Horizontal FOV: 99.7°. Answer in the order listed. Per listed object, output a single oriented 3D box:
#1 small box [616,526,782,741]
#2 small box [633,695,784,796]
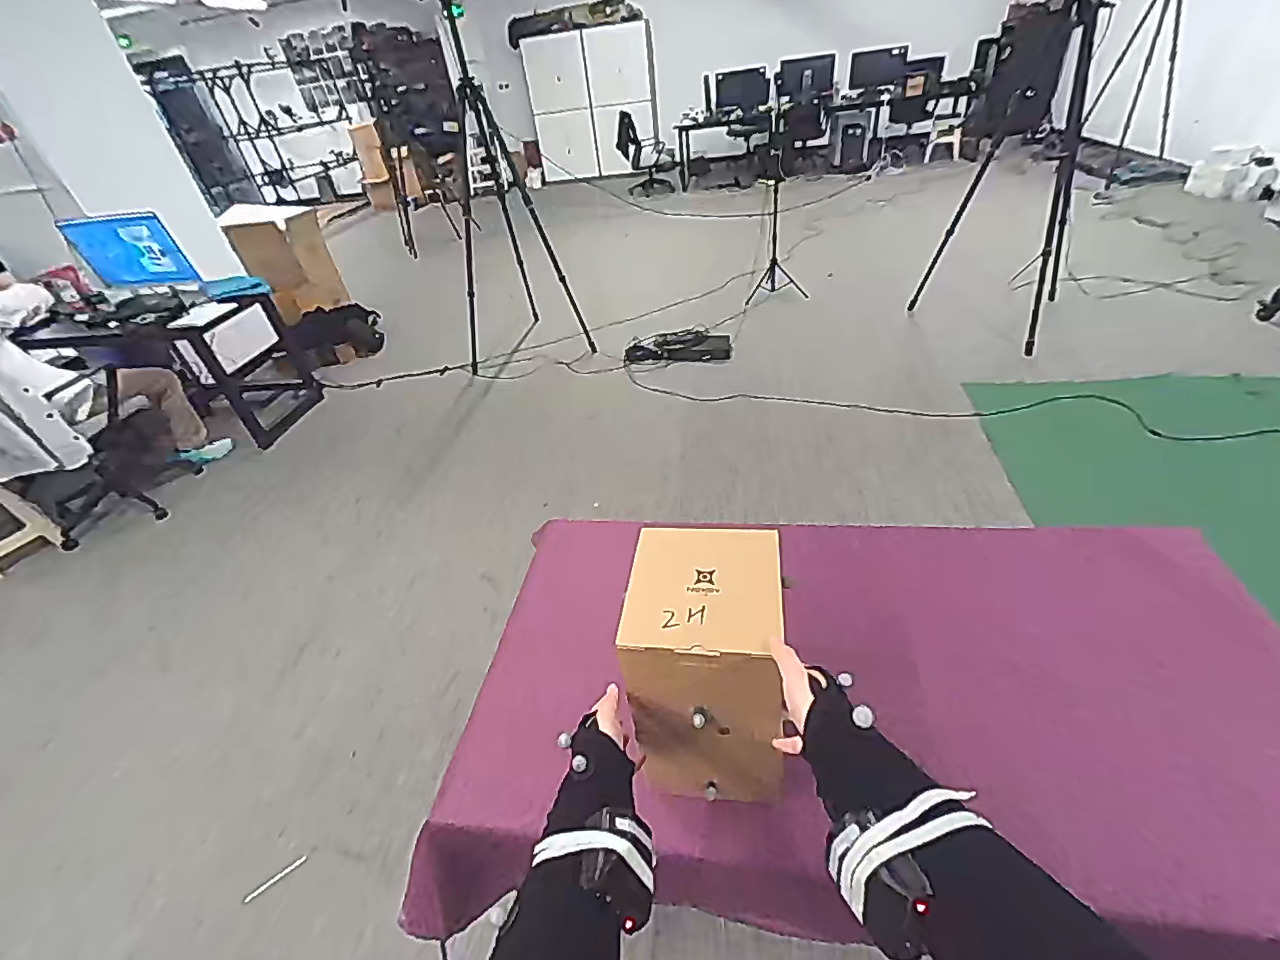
[{"bbox_3d":[0.077,0.175,0.637,0.168,0.176,0.179,0,38,12],"label":"small box"},{"bbox_3d":[0.095,0.308,0.736,0.179,0.176,0.168,0,38,9],"label":"small box"}]
